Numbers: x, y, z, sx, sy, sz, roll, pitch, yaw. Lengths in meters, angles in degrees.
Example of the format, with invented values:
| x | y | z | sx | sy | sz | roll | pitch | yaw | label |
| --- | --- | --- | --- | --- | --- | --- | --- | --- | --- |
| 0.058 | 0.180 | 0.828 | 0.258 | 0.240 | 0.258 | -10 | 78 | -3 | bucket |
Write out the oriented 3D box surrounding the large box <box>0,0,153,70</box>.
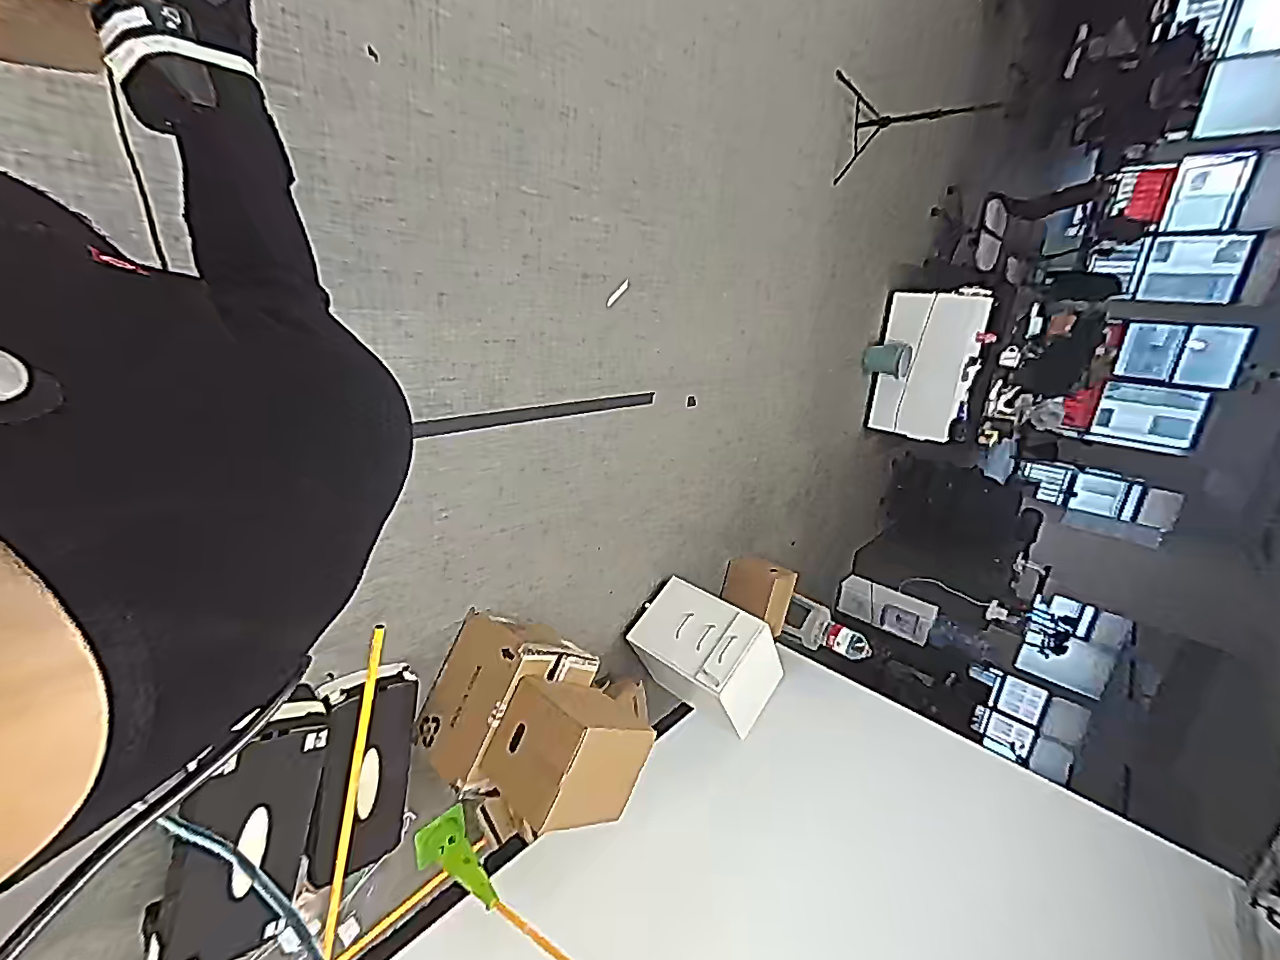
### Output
| x | y | z | sx | sy | sz | roll | pitch | yaw | label |
| --- | --- | --- | --- | --- | --- | --- | --- | --- | --- |
| -0.584 | -0.453 | 0.275 | 0.408 | 0.320 | 0.320 | -25 | 126 | -42 | large box |
